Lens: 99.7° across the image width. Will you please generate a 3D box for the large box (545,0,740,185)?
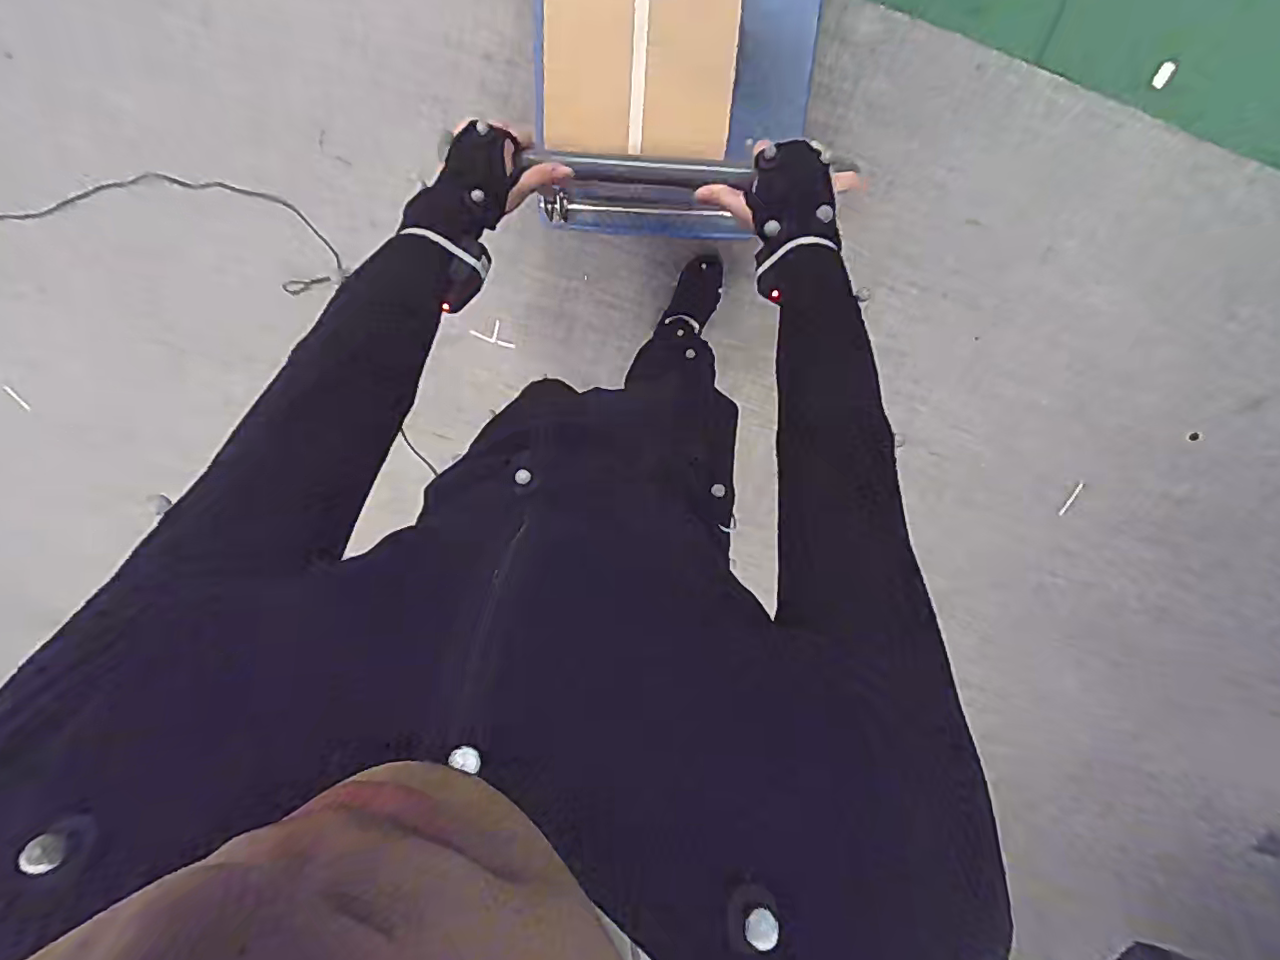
[{"bbox_3d":[0.014,-0.791,0.993,0.320,0.320,0.408,5,111,3],"label":"large box"}]
